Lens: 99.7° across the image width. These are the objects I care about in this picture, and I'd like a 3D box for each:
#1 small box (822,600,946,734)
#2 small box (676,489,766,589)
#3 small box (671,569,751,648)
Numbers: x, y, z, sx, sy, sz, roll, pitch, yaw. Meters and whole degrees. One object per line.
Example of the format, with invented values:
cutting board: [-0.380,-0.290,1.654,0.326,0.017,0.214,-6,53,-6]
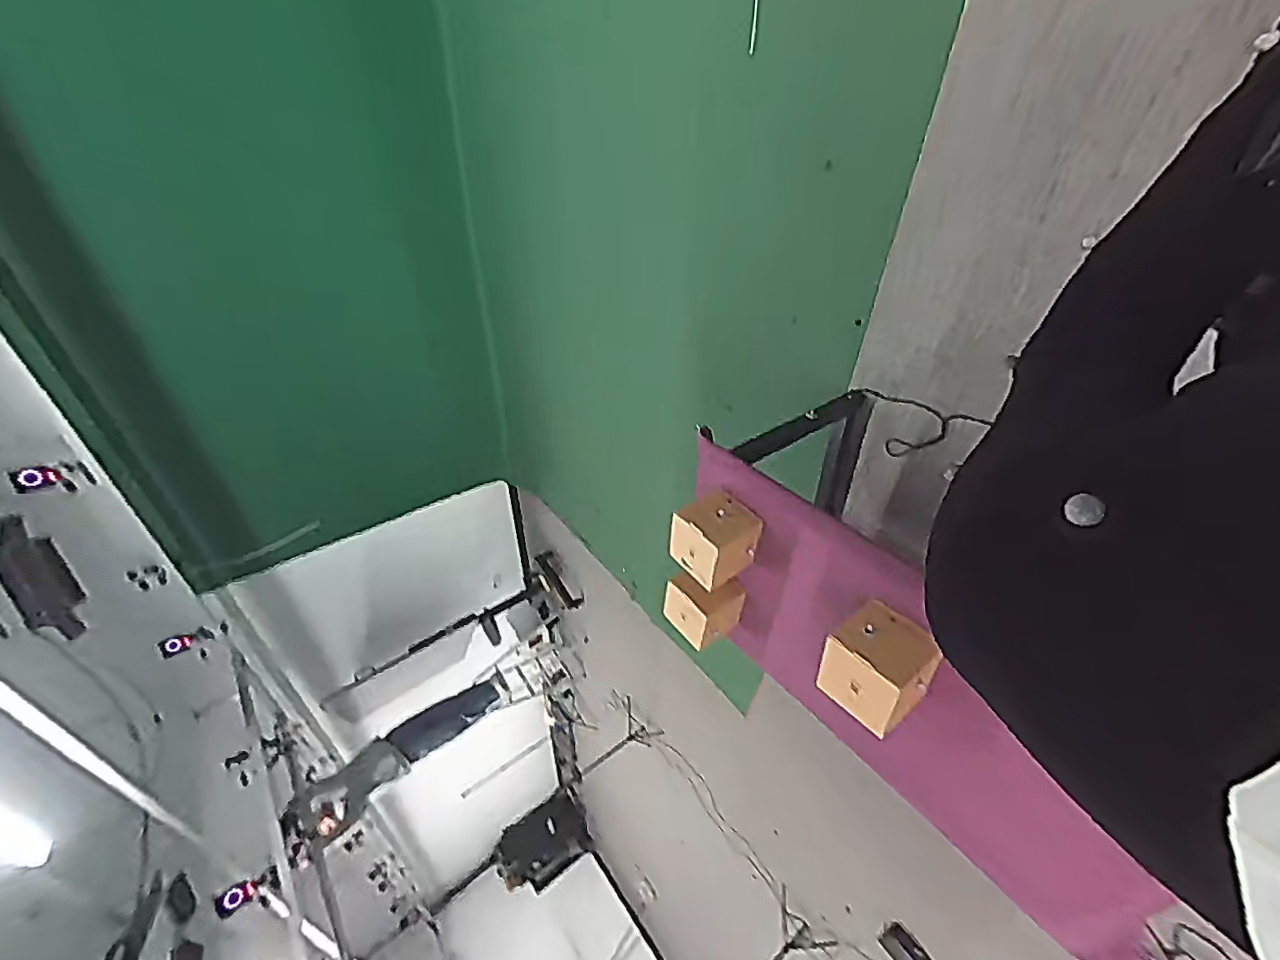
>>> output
small box: [0.521,0.391,1.157,0.168,0.176,0.179,36,142,42]
small box: [0.219,0.153,1.462,0.168,0.176,0.179,41,144,35]
small box: [0.214,0.366,1.638,0.168,0.176,0.179,41,142,34]
